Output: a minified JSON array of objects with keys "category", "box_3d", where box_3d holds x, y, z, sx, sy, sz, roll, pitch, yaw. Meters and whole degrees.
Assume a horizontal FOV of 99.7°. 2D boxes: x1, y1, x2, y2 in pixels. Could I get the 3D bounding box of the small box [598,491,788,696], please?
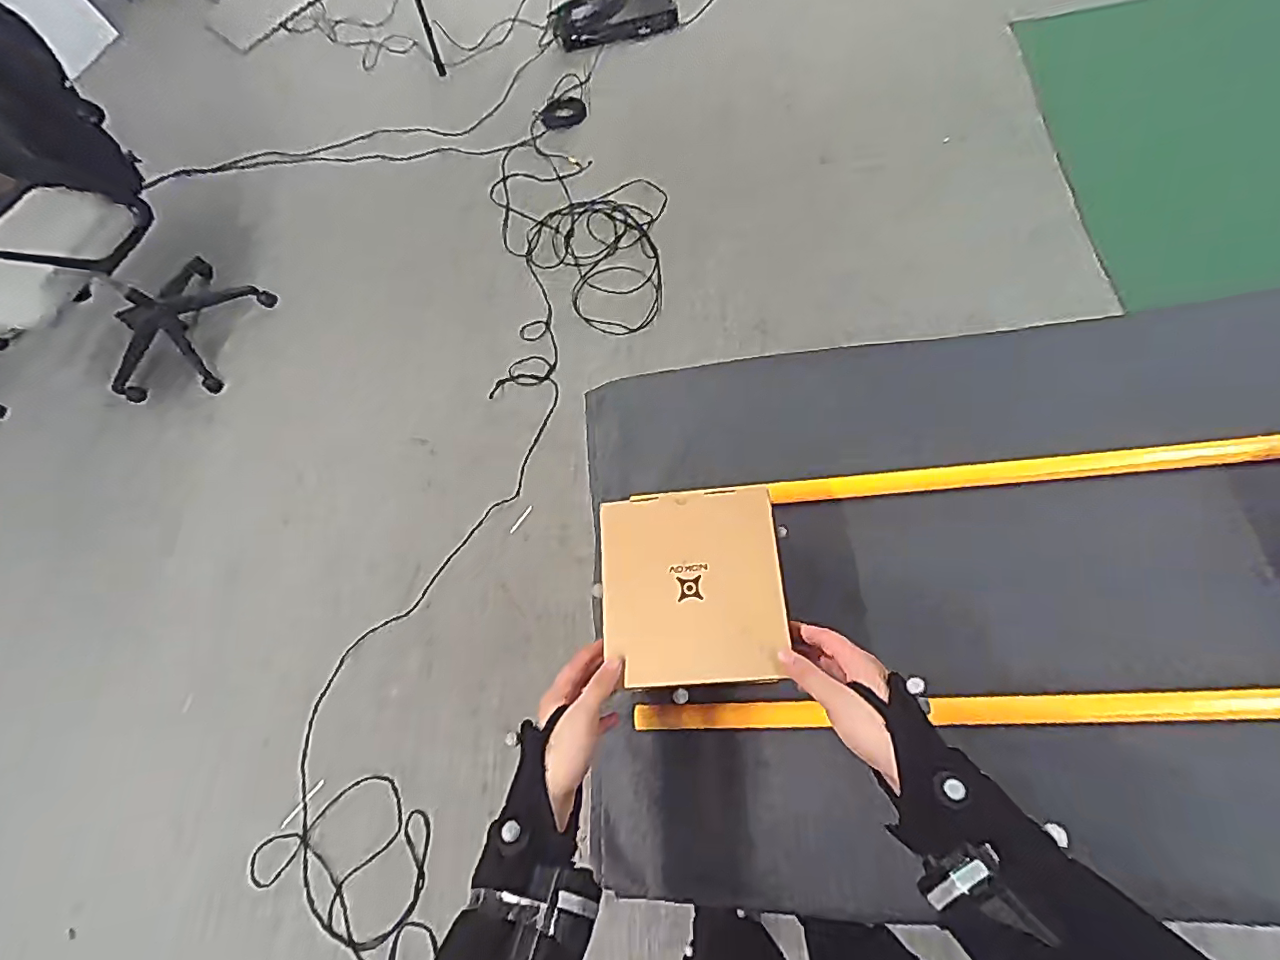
[{"category":"small box","box_3d":[0.056,0.128,0.566,0.168,0.176,0.179,-7,67,7]}]
